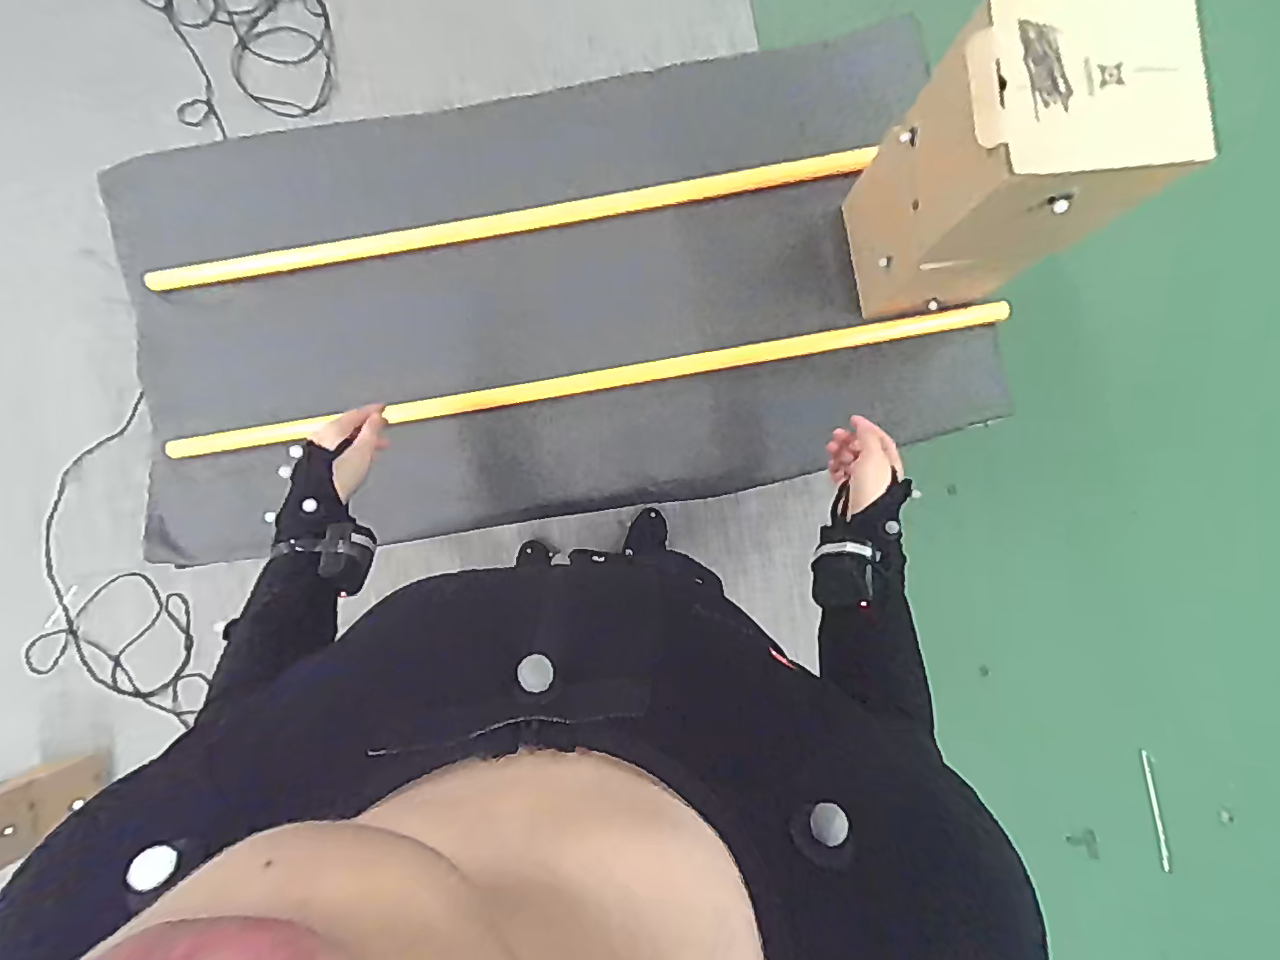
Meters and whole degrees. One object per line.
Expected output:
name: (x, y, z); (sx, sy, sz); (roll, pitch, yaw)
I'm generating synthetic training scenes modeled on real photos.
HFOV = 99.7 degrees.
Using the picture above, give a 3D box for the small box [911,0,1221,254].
small box: (0.389, -0.339, 0.531); (0.179, 0.176, 0.168); (-5, 88, 0)

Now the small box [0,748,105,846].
small box: (-1.542, 0.821, 1.395); (0.179, 0.176, 0.168); (-13, 88, 0)

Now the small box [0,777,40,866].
small box: (-1.536, 0.809, 1.230); (0.179, 0.176, 0.168); (-14, 88, 0)
